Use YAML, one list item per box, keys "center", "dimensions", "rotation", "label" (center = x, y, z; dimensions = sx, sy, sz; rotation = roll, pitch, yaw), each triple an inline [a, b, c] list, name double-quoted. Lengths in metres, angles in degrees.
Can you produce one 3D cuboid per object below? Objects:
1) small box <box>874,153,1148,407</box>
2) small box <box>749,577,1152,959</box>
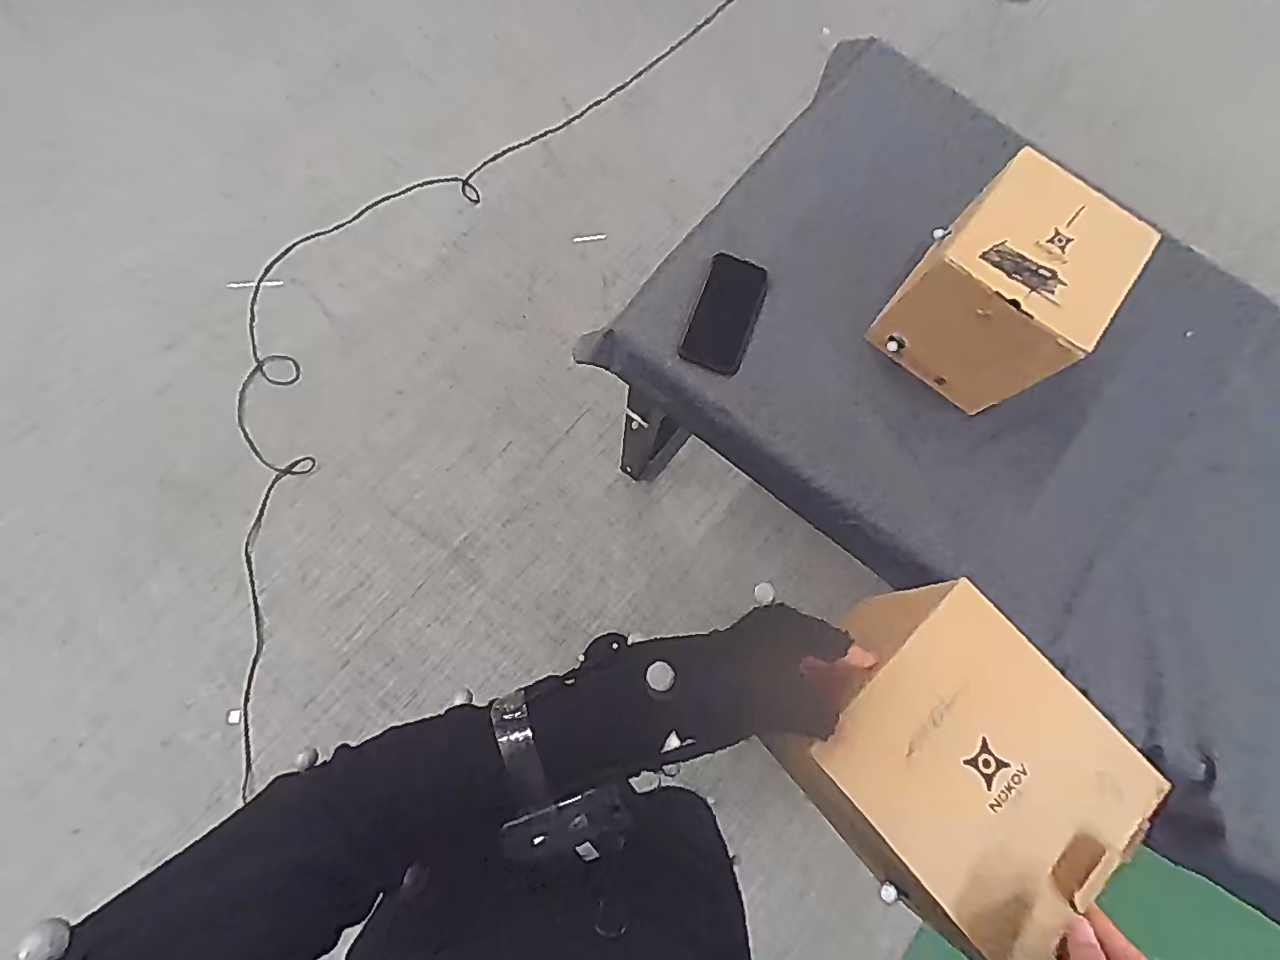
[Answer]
- center: [0.403, -0.214, 0.623]
  dimensions: [0.168, 0.176, 0.179]
  rotation: [38, 77, 4]
  label: "small box"
- center: [0.217, 0.202, 0.428]
  dimensions: [0.168, 0.176, 0.179]
  rotation: [-40, 78, -16]
  label: "small box"
